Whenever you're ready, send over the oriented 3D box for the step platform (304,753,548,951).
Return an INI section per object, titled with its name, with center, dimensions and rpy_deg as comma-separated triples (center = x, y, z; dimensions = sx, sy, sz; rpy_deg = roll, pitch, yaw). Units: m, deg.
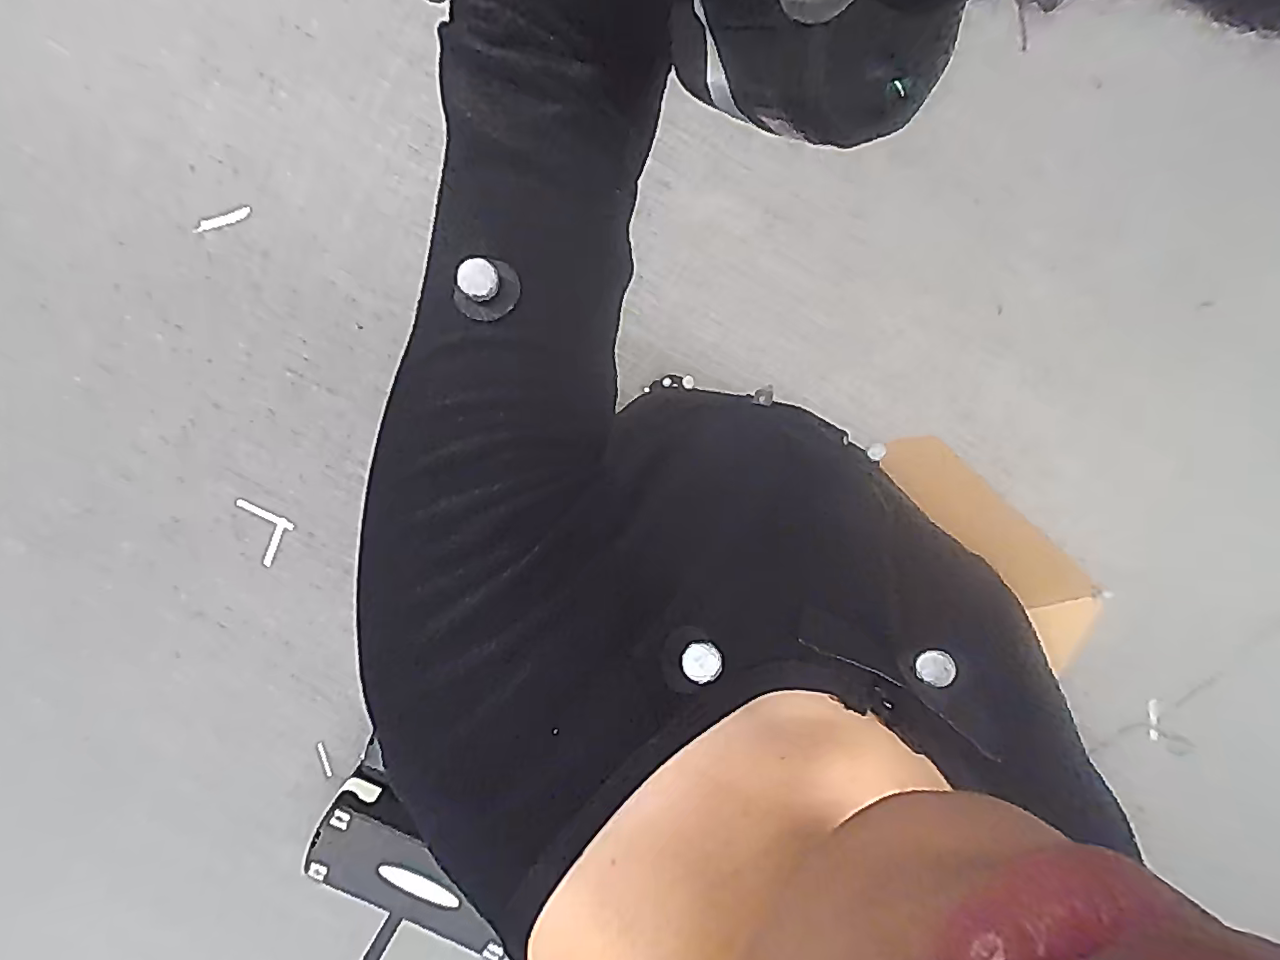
[step platform]
center = -0.639, 1.126, 1.644
dimensions = 0.684, 0.204, 0.286
rpy_deg = 26, 101, -2
